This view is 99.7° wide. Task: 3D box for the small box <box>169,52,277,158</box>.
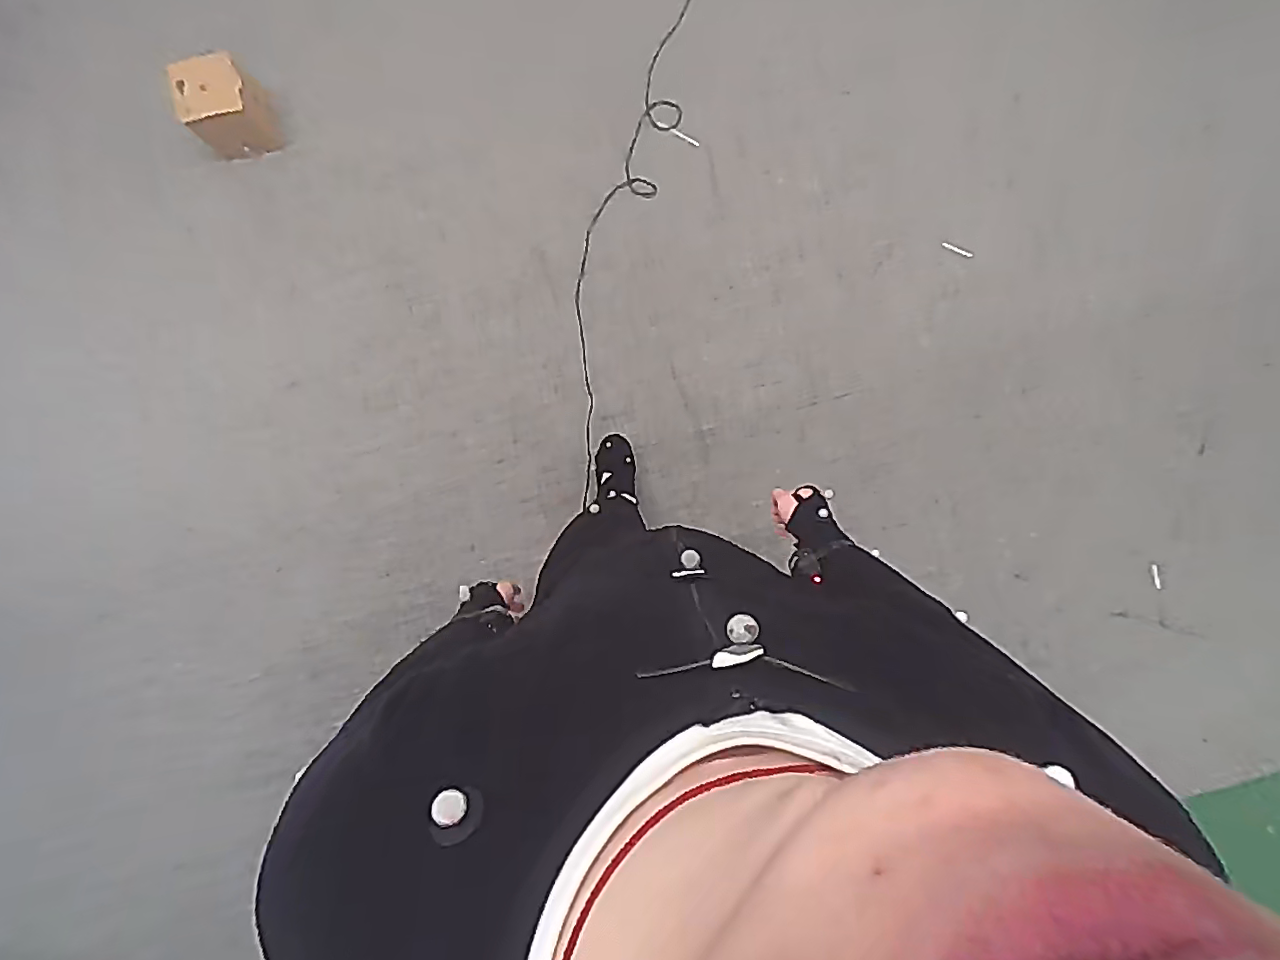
[{"bbox_3d":[-1.164,-1.051,1.528,0.179,0.176,0.168,-13,87,-1],"label":"small box"}]
